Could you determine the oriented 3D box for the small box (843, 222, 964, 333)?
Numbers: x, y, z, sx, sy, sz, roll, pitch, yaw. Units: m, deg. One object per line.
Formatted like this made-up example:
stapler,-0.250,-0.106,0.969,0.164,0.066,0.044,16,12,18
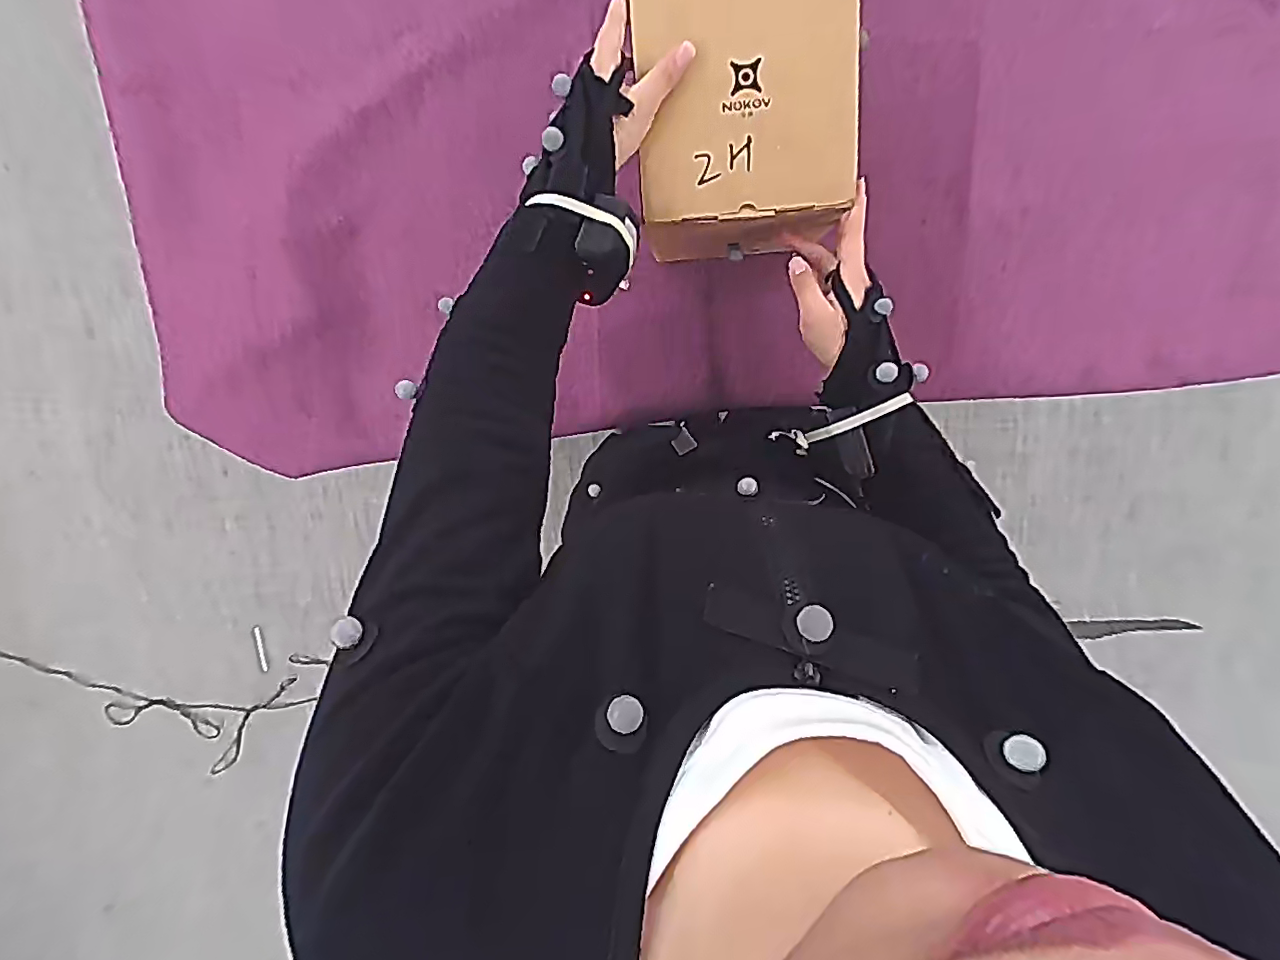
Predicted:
small box,0.502,-0.382,1.051,0.168,0.176,0.179,-3,100,6
